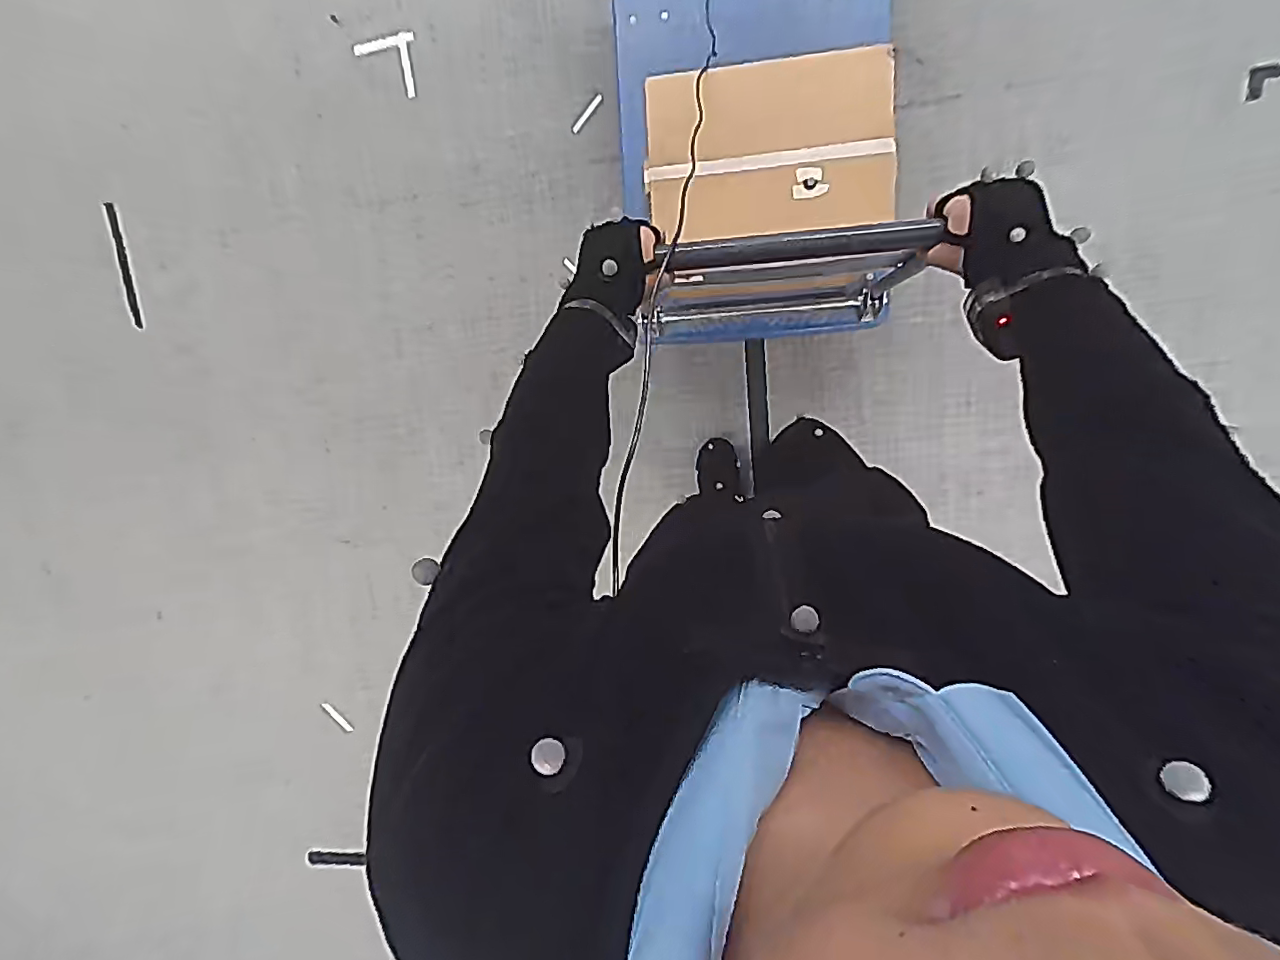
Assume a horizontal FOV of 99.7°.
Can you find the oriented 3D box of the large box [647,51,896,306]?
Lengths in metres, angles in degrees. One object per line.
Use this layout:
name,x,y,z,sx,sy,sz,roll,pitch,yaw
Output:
large box,0.234,-0.540,1.048,0.408,0.320,0.320,-2,98,7
